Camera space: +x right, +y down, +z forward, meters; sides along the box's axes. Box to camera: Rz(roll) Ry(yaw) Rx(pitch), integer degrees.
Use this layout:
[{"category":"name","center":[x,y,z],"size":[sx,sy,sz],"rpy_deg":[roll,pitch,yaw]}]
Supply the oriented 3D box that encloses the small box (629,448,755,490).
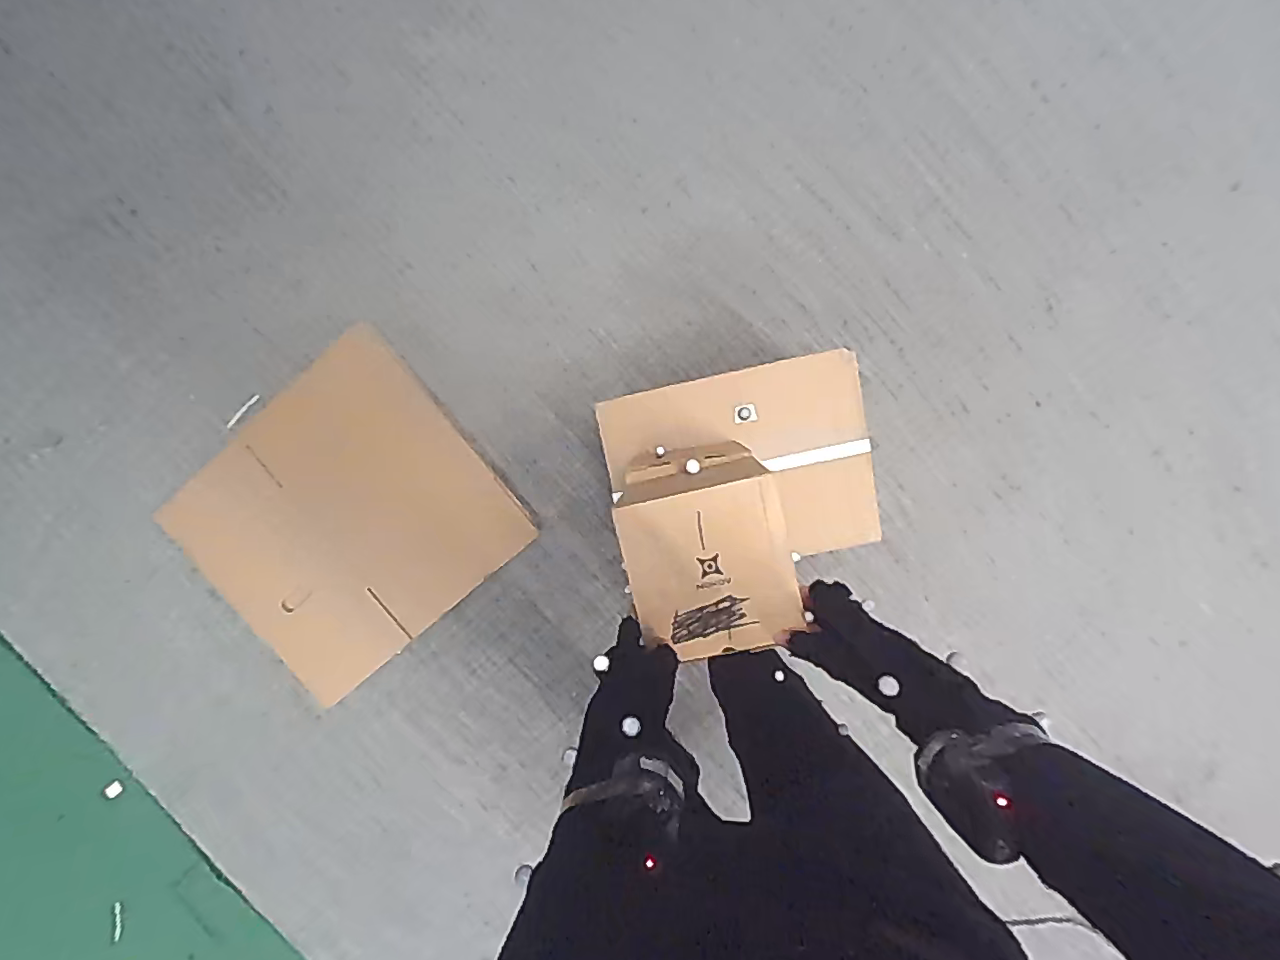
[{"category":"small box","center":[0.083,0.050,0.789],"size":[0.168,0.176,0.179],"rpy_deg":[-9,98,7]}]

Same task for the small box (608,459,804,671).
[{"category":"small box","center":[0.076,0.087,0.628],"size":[0.168,0.176,0.179],"rpy_deg":[-16,98,7]}]
